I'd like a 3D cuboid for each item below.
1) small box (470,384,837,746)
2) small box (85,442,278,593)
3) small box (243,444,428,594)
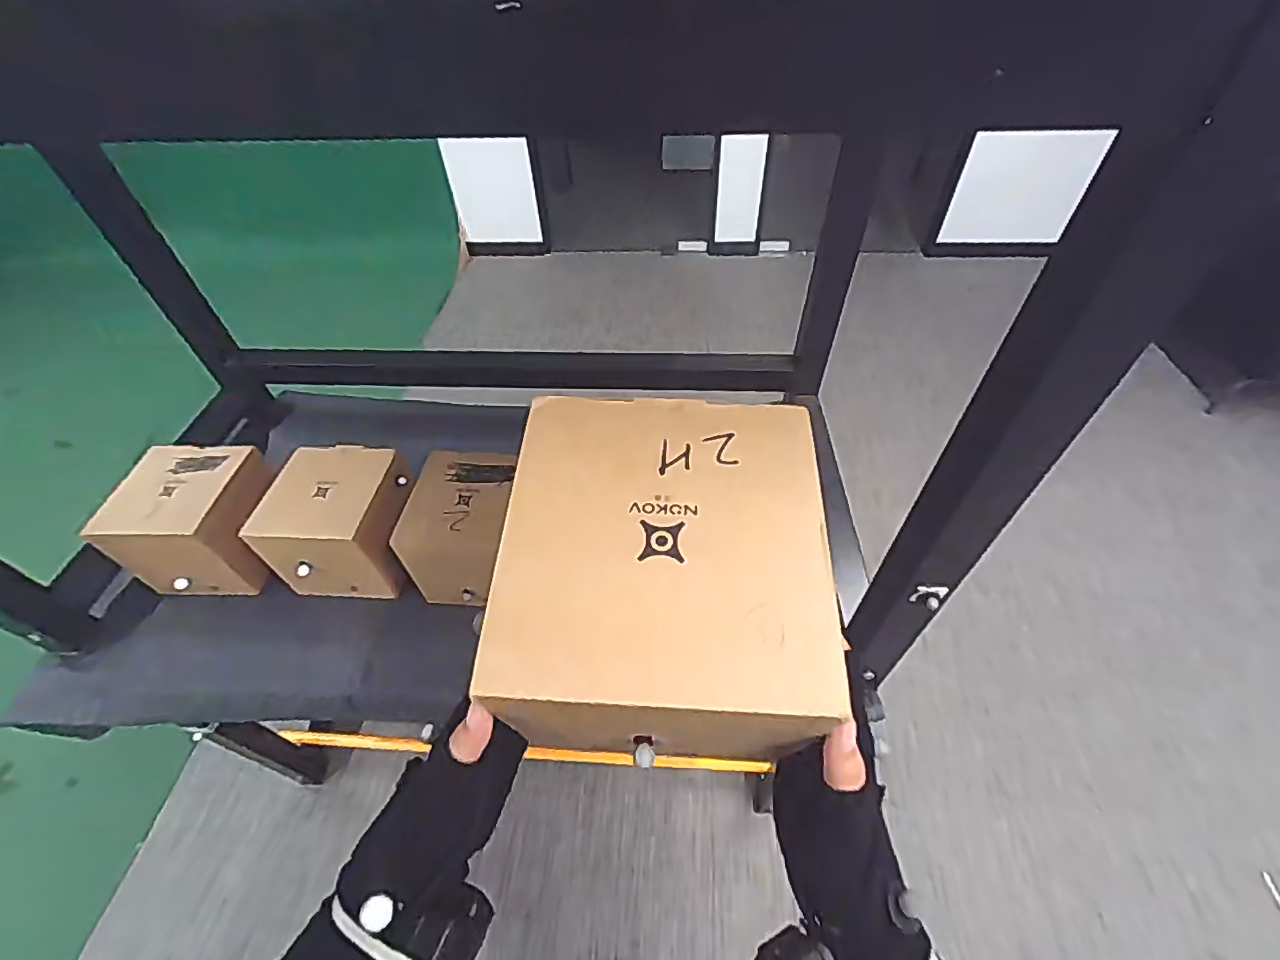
[{"bbox_3d":[0.012,0.062,0.346,0.168,0.176,0.179,3,57,2],"label":"small box"},{"bbox_3d":[-0.686,0.059,0.861,0.168,0.176,0.179,0,48,2],"label":"small box"},{"bbox_3d":[-0.459,0.063,0.853,0.168,0.176,0.179,2,48,4],"label":"small box"}]
